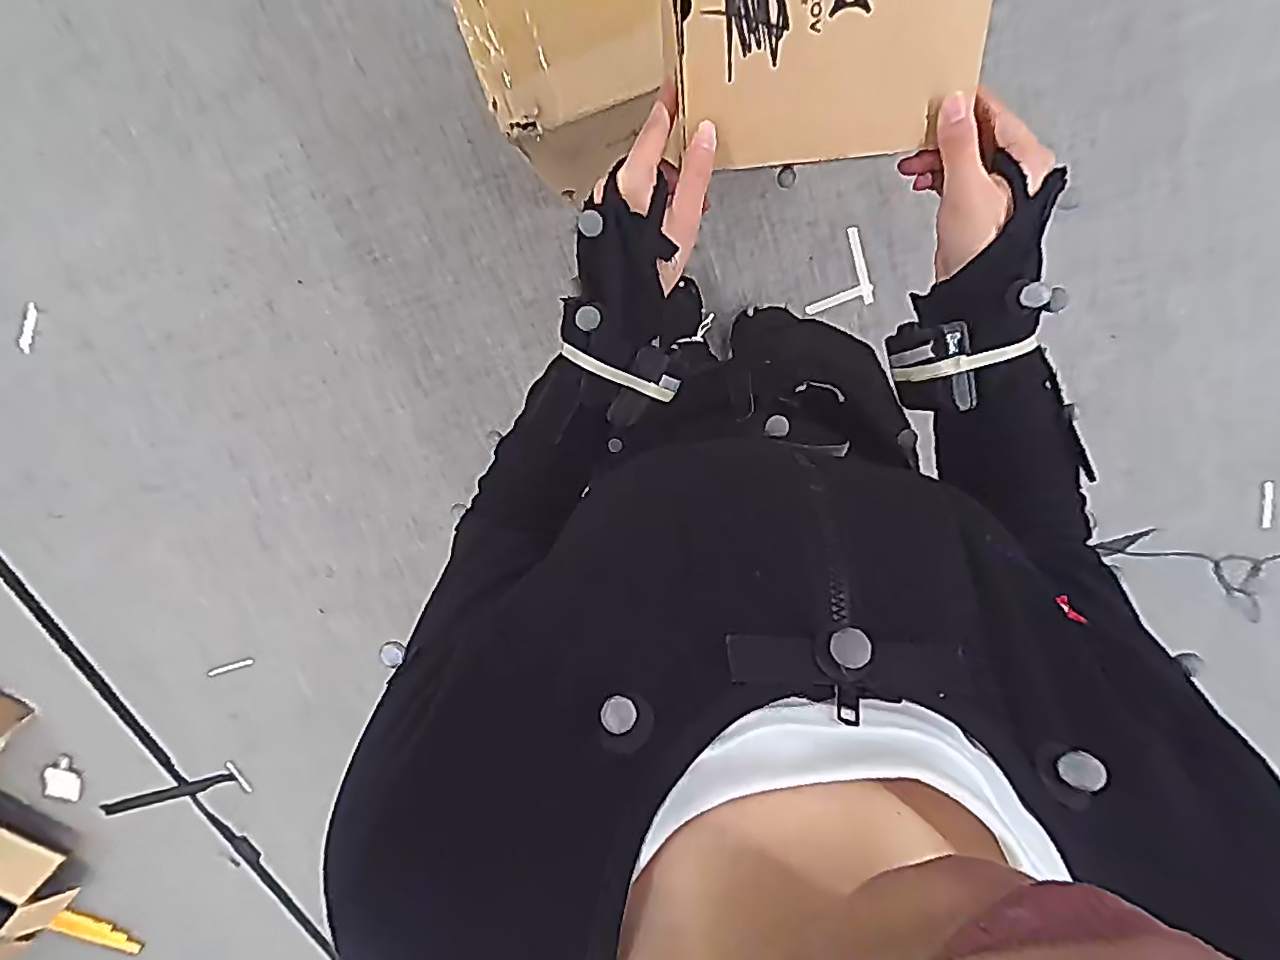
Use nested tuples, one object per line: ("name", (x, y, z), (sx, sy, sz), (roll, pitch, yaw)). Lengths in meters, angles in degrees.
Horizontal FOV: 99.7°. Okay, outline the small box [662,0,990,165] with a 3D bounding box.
("small box", (0.104, -0.313, 0.360), (0.179, 0.176, 0.168), (-5, 119, 2))
